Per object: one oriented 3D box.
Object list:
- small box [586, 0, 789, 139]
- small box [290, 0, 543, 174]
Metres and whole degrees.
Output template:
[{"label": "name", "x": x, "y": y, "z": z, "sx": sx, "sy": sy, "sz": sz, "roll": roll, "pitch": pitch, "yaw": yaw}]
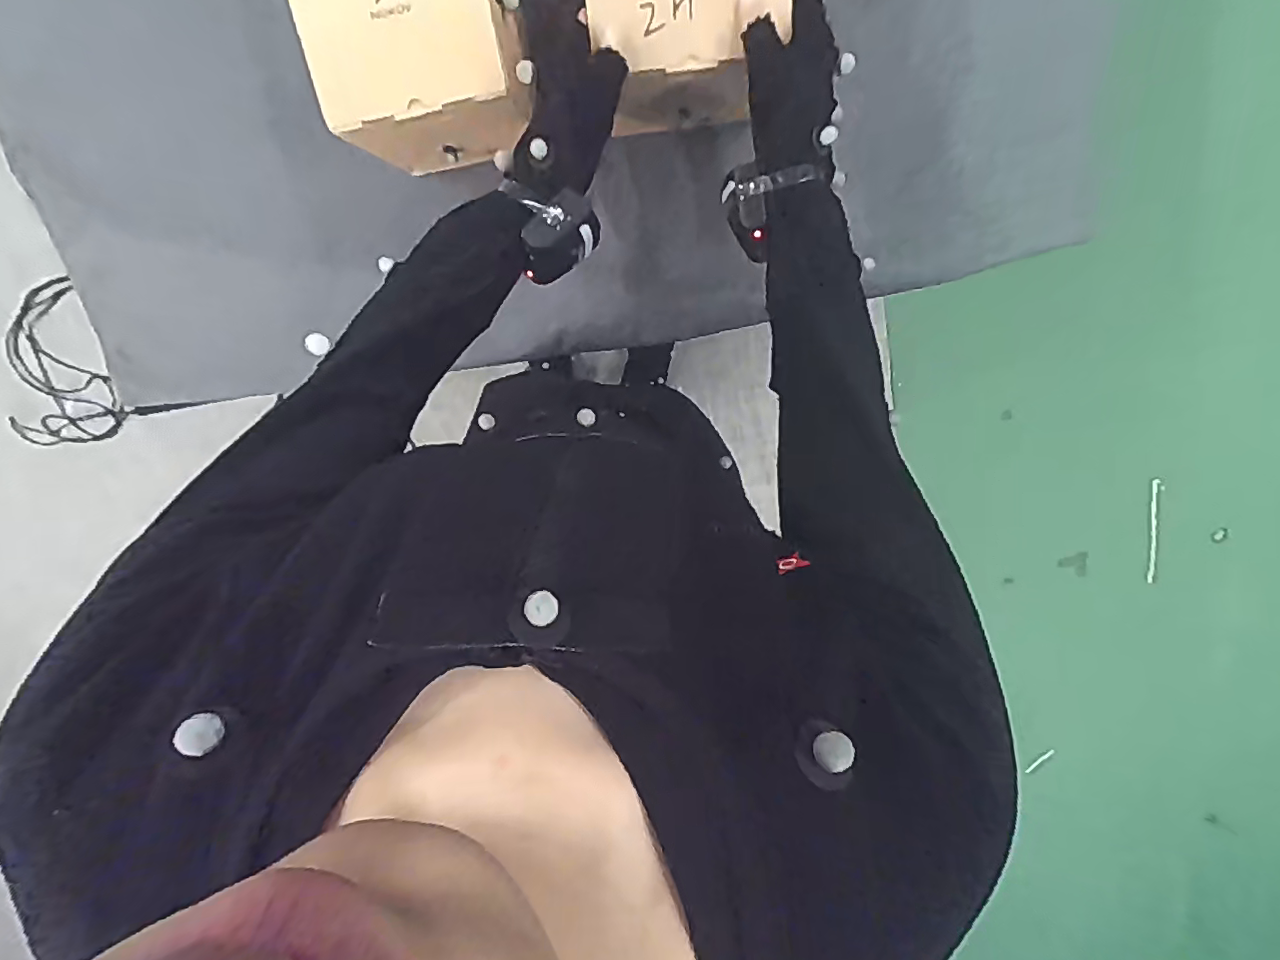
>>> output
[{"label": "small box", "x": 0.035, "y": -0.446, "z": 0.499, "sx": 0.168, "sy": 0.176, "sz": 0.179, "roll": -5, "pitch": 108, "yaw": 4}, {"label": "small box", "x": -0.204, "y": -0.423, "z": 0.519, "sx": 0.168, "sy": 0.176, "sz": 0.179, "roll": -9, "pitch": 108, "yaw": 6}]
